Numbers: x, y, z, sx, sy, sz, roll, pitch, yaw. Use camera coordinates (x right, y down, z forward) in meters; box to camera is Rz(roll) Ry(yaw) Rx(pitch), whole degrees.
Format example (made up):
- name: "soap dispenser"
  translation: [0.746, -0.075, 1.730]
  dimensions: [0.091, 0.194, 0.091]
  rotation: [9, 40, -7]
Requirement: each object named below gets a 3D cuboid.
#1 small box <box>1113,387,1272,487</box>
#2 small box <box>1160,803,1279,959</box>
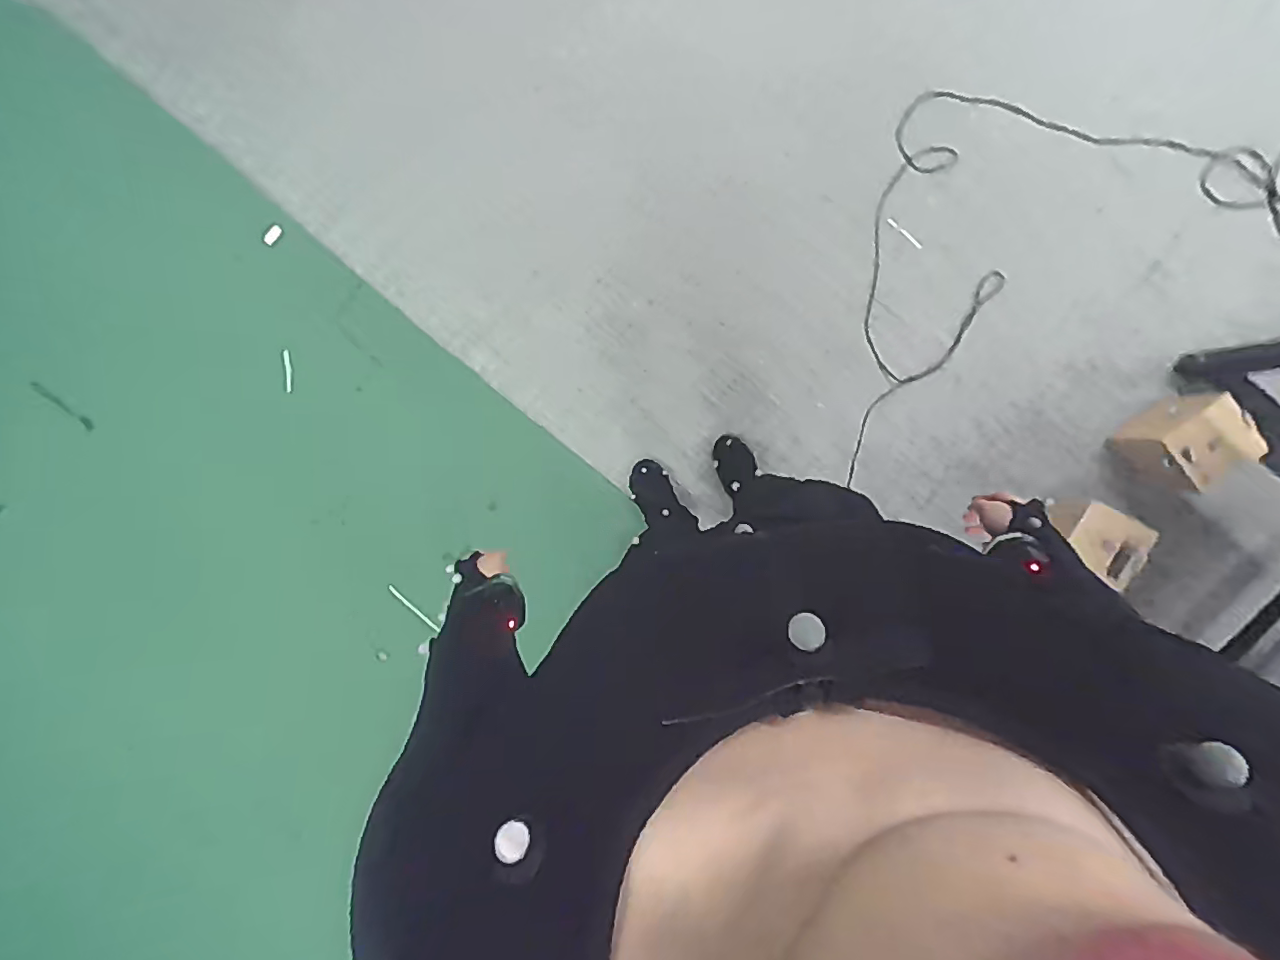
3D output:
- name: "small box"
  translation: [1.324, -0.104, 1.310]
  dimensions: [0.179, 0.176, 0.168]
  rotation: [-38, 91, 5]
- name: "small box"
  translation: [0.814, 0.543, 0.657]
  dimensions: [0.179, 0.176, 0.168]
  rotation: [-30, 94, 4]
